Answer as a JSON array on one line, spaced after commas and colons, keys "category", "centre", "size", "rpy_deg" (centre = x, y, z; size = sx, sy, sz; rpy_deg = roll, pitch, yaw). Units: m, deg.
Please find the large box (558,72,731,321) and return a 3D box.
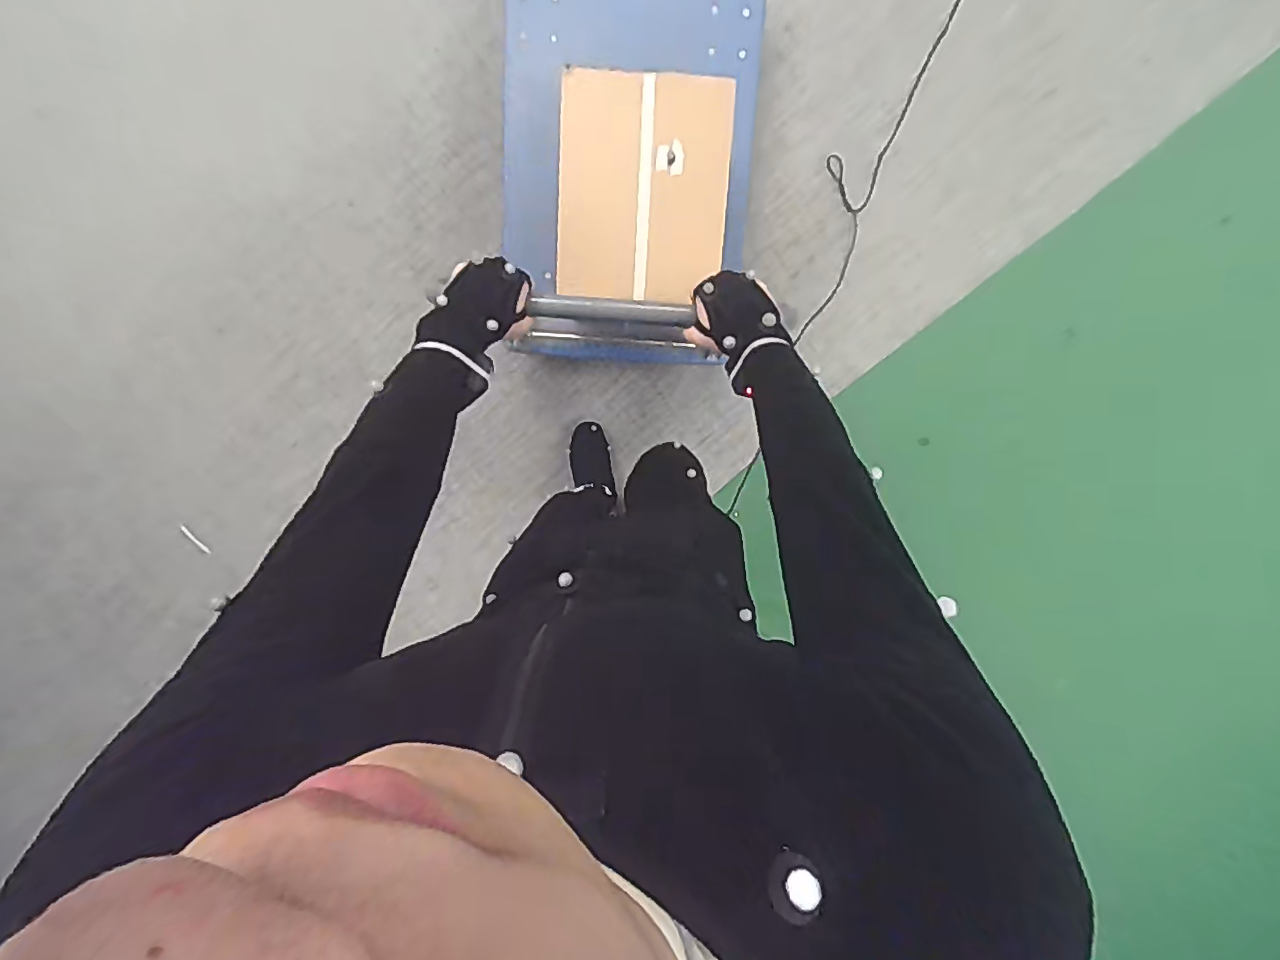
[{"category": "large box", "centre": [0.002, -0.565, 1.164], "size": [0.320, 0.320, 0.408], "rpy_deg": [3, 102, -3]}]
